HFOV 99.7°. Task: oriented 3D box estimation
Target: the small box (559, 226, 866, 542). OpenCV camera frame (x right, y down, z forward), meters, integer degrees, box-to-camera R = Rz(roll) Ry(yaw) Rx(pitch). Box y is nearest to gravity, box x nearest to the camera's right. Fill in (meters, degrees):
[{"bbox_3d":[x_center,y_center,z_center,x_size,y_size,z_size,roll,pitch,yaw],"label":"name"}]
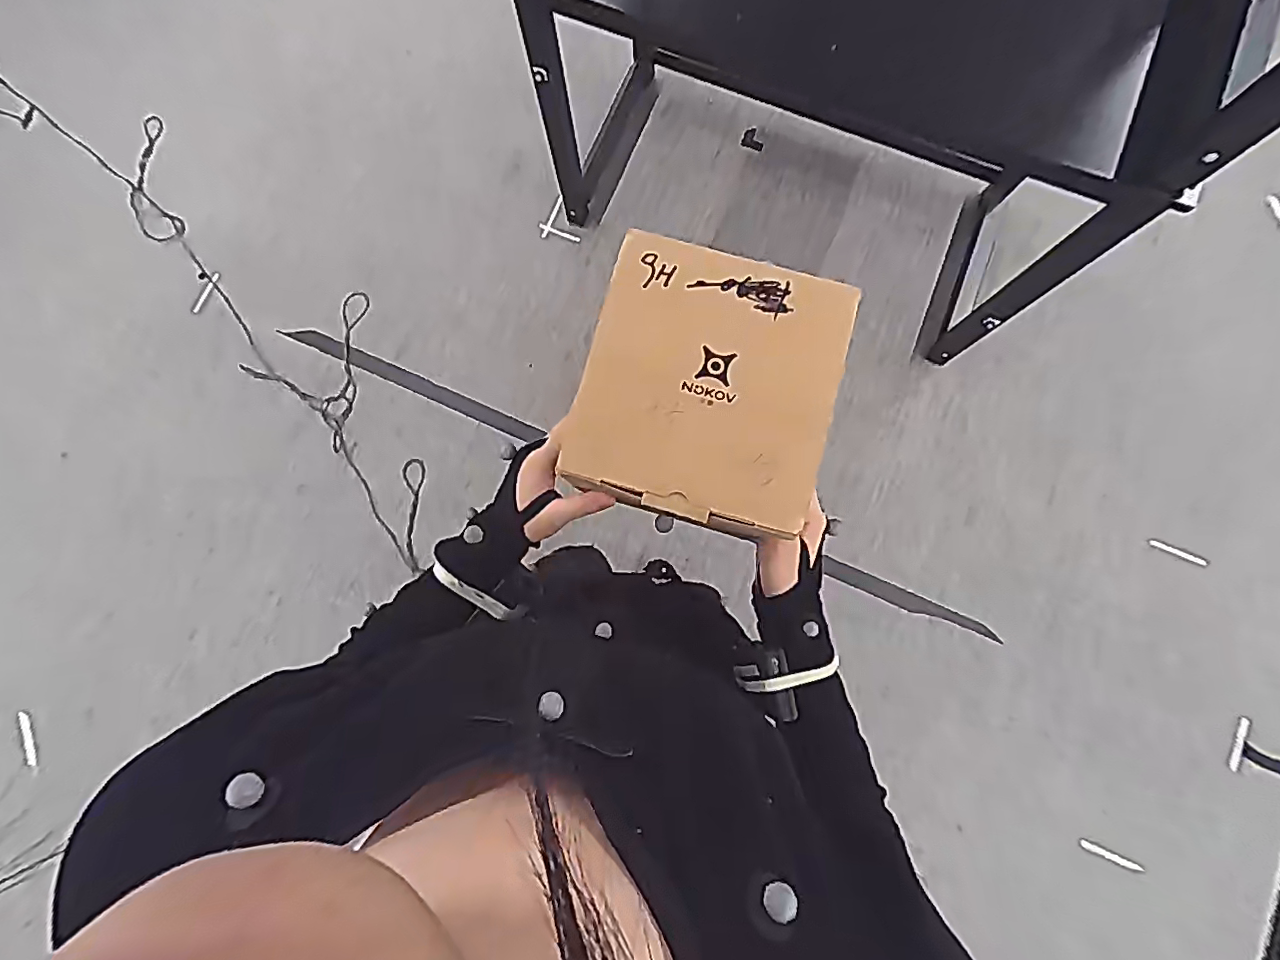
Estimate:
[{"bbox_3d":[0.048,-0.058,0.429,0.168,0.176,0.179,16,85,0],"label":"small box"}]
